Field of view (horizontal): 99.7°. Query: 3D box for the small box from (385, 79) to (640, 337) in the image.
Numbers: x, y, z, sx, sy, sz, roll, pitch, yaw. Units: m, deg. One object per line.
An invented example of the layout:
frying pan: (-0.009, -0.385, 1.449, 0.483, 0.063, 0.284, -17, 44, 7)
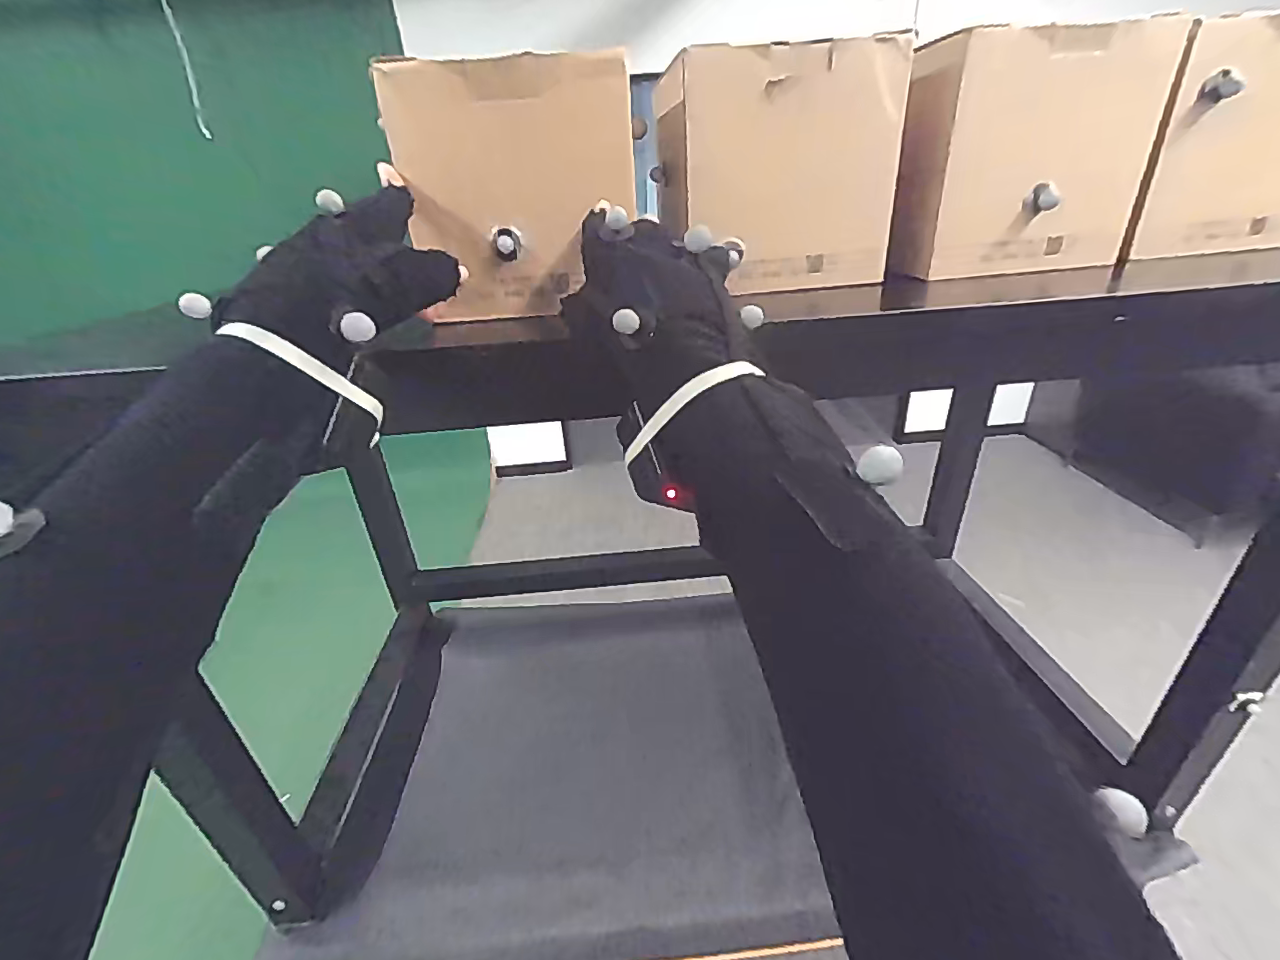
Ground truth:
small box: (-0.090, -0.226, 0.468, 0.168, 0.176, 0.179, -5, 28, -2)
